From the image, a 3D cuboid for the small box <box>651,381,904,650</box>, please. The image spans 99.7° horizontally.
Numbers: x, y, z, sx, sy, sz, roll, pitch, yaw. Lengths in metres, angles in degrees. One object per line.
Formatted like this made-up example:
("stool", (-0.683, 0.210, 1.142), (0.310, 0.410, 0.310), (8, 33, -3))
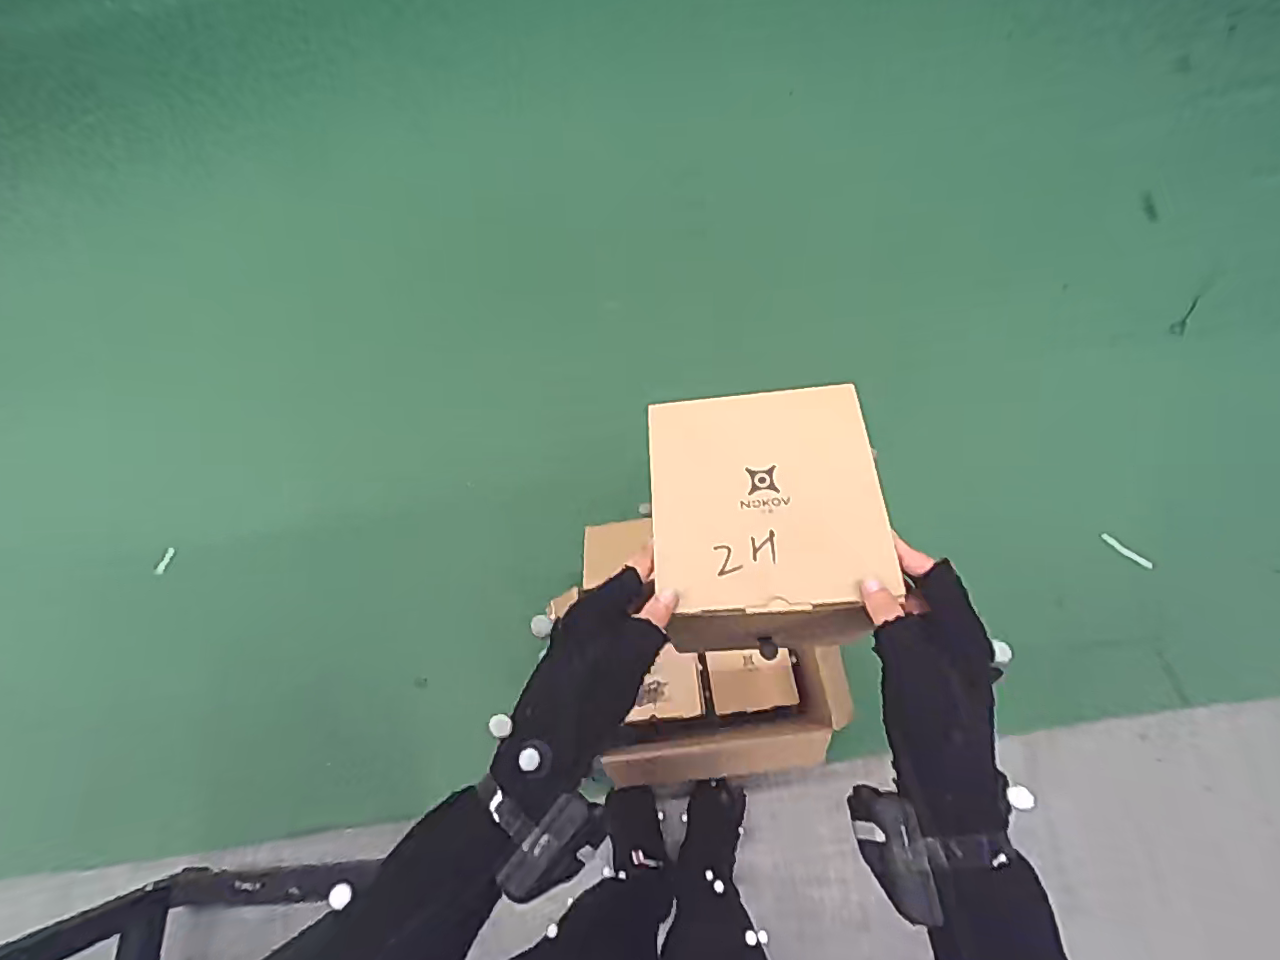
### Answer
("small box", (0.099, 0.040, 0.463), (0.168, 0.176, 0.179), (-5, 64, 7))
